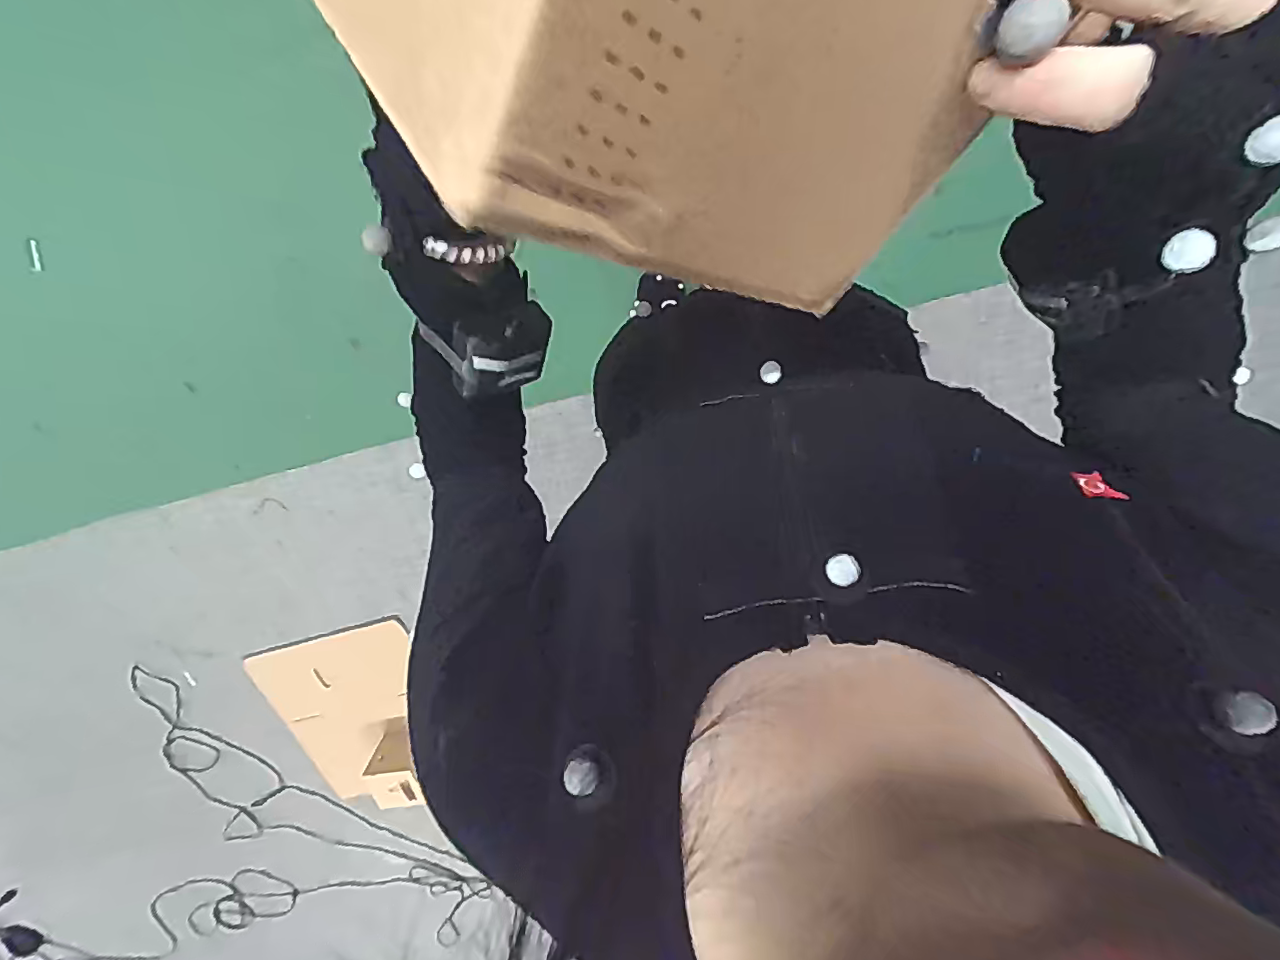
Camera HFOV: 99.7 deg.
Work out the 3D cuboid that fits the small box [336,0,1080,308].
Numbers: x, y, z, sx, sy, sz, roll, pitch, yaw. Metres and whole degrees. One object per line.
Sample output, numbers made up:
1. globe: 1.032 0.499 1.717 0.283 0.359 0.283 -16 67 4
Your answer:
1. small box: 0.017 -0.179 0.150 0.179 0.176 0.168 -51 61 37
